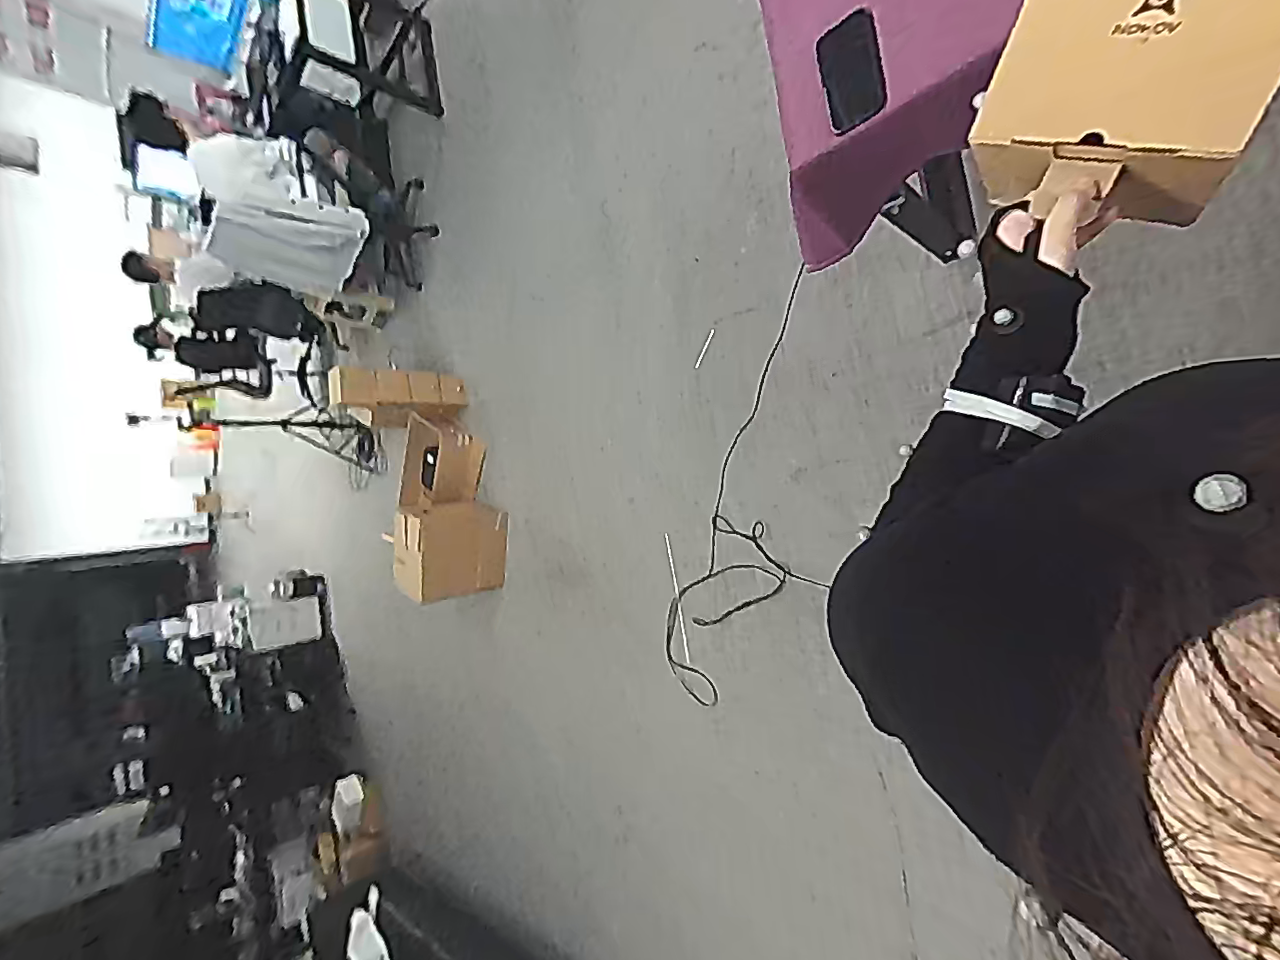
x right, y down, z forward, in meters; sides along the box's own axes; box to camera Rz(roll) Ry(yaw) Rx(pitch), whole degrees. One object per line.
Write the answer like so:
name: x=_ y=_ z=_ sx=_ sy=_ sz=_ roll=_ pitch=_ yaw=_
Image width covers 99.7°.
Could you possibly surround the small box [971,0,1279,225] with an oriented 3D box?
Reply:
small box: x=0.394 y=-0.327 z=0.433 sx=0.168 sy=0.176 sz=0.179 roll=26 pitch=112 yaw=31
